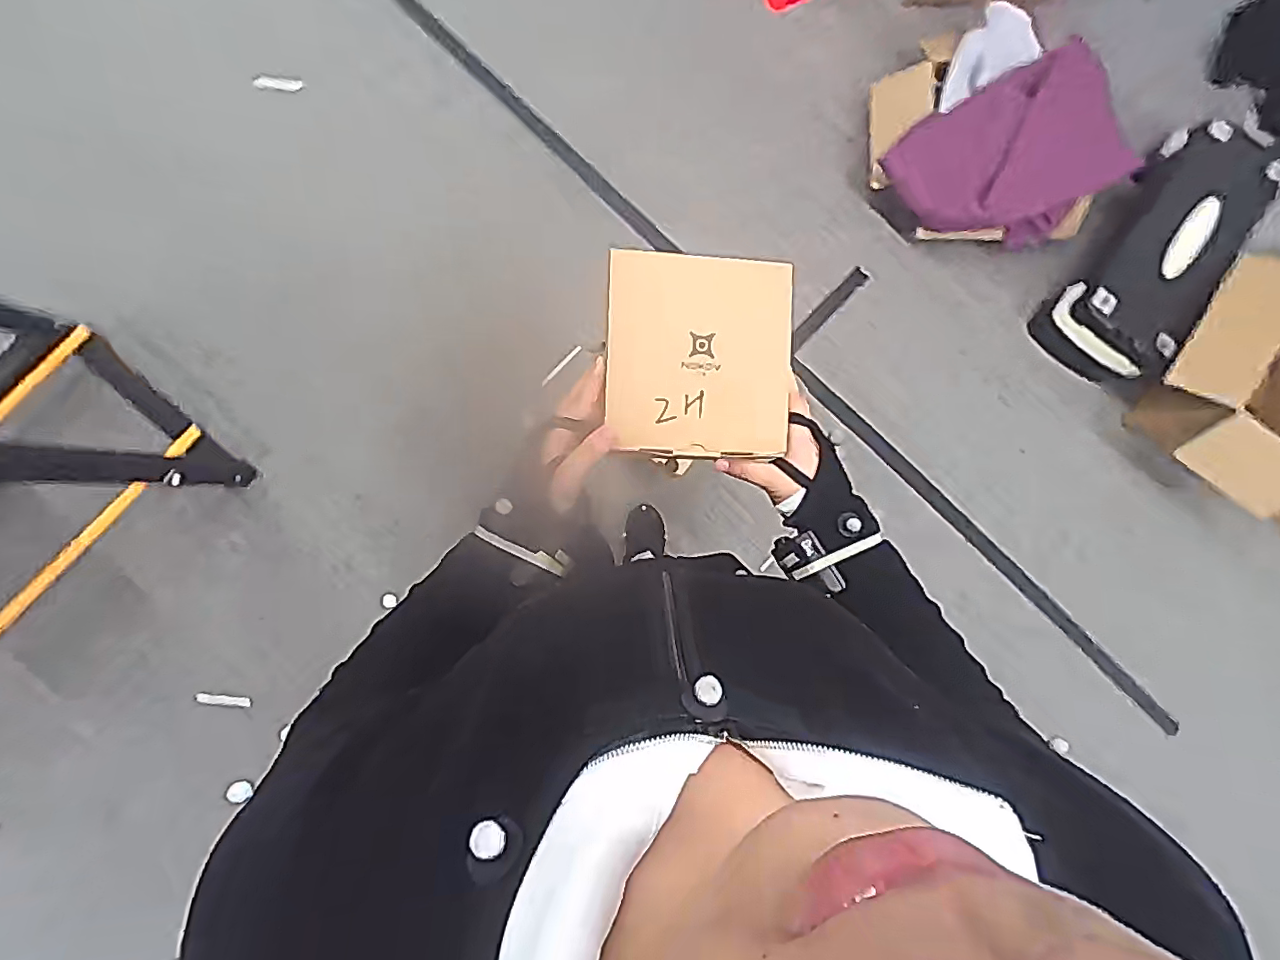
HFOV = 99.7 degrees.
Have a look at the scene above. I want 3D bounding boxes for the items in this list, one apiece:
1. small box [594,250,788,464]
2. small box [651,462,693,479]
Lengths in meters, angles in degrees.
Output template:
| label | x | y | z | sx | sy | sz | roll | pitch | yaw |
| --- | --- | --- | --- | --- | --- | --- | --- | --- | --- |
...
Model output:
| label | x | y | z | sx | sy | sz | roll | pitch | yaw |
| --- | --- | --- | --- | --- | --- | --- | --- | --- | --- |
| small box | 0.039 | -0.109 | 0.550 | 0.168 | 0.176 | 0.179 | 1 | 90 | -6 |
| small box | 0.075 | -0.116 | 1.267 | 0.168 | 0.176 | 0.179 | 37 | 88 | -1 |
